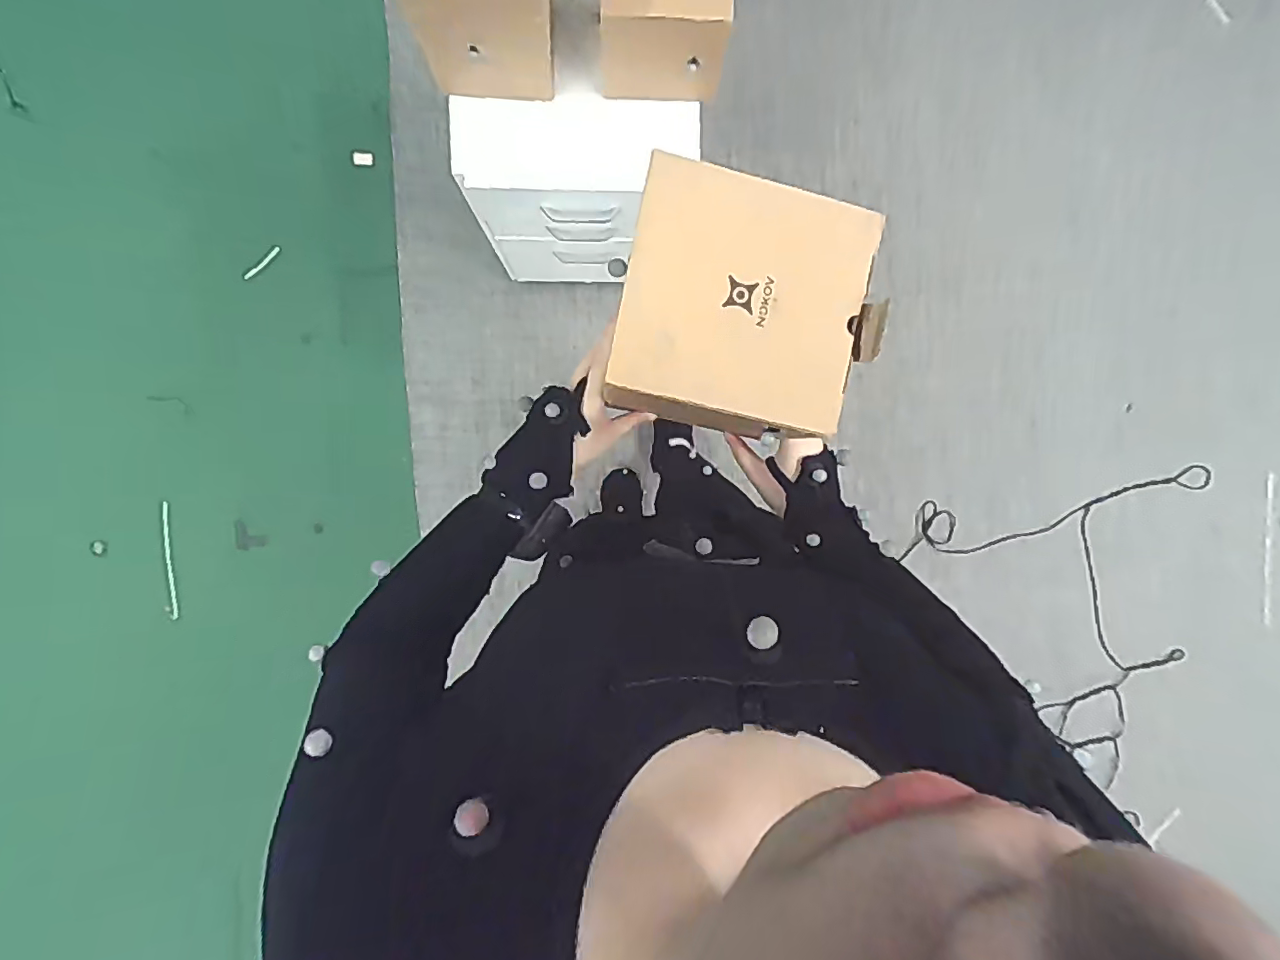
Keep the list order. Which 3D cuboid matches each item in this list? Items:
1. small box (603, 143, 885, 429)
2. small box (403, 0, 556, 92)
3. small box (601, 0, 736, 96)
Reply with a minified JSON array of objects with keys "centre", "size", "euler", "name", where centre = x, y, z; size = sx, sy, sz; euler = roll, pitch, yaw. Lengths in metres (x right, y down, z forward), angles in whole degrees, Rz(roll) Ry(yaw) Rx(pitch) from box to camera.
[{"centre":[0.068,-0.140,0.460],"size":[0.179,0.176,0.168],"euler":[11,92,-7],"name":"small box"},{"centre":[-0.212,-0.673,0.747],"size":[0.179,0.176,0.168],"euler":[0,95,-5],"name":"small box"},{"centre":[0.033,-0.680,0.766],"size":[0.179,0.176,0.168],"euler":[-1,93,-2],"name":"small box"}]
